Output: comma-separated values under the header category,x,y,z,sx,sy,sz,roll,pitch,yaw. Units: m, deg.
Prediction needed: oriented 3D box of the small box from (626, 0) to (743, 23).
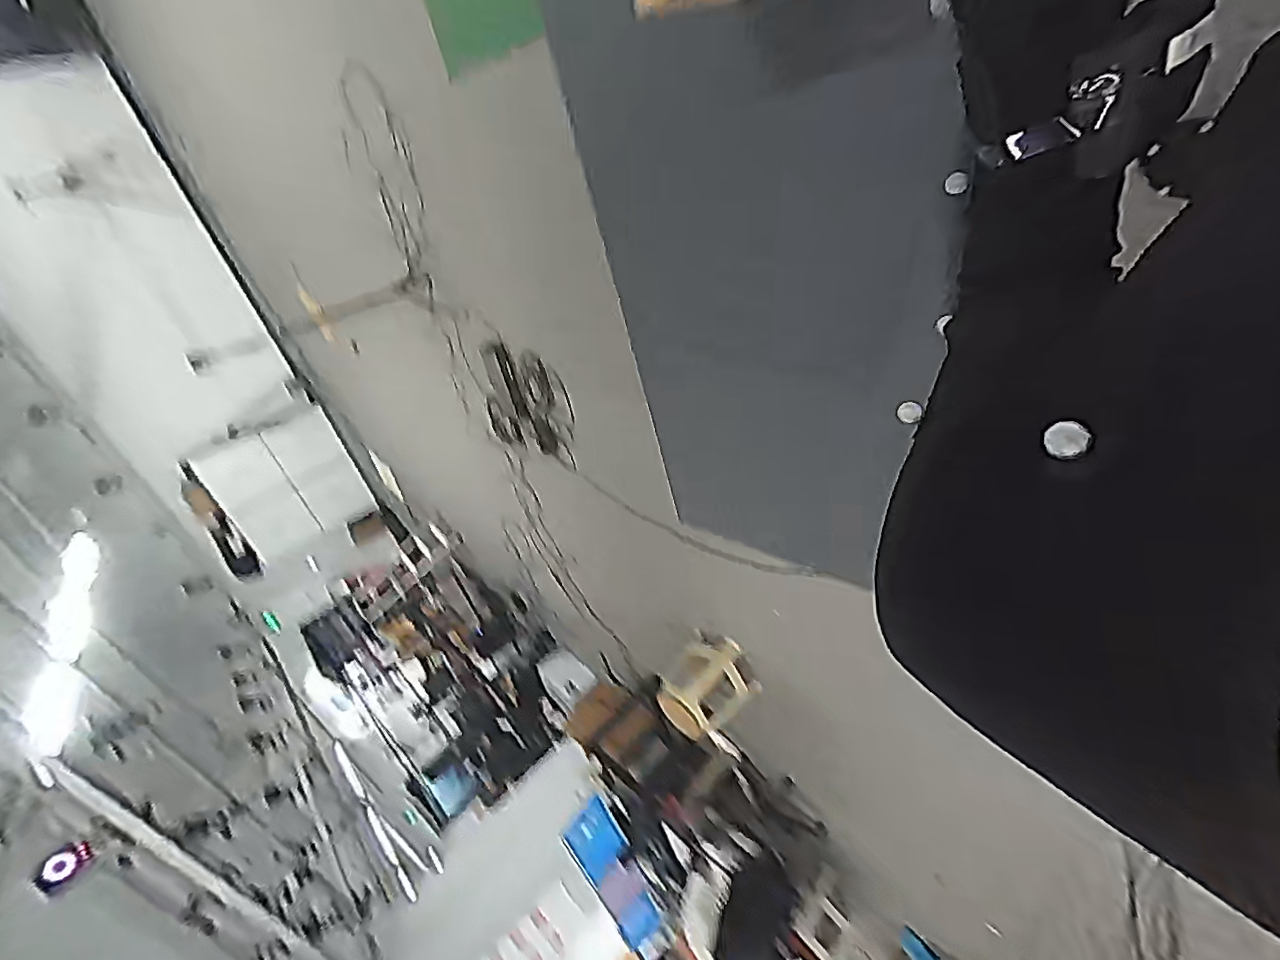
category,x,y,z,sx,sy,sz,roll,pitch,yaw
small box,0.083,-0.574,0.512,0.179,0.176,0.168,19,136,46
